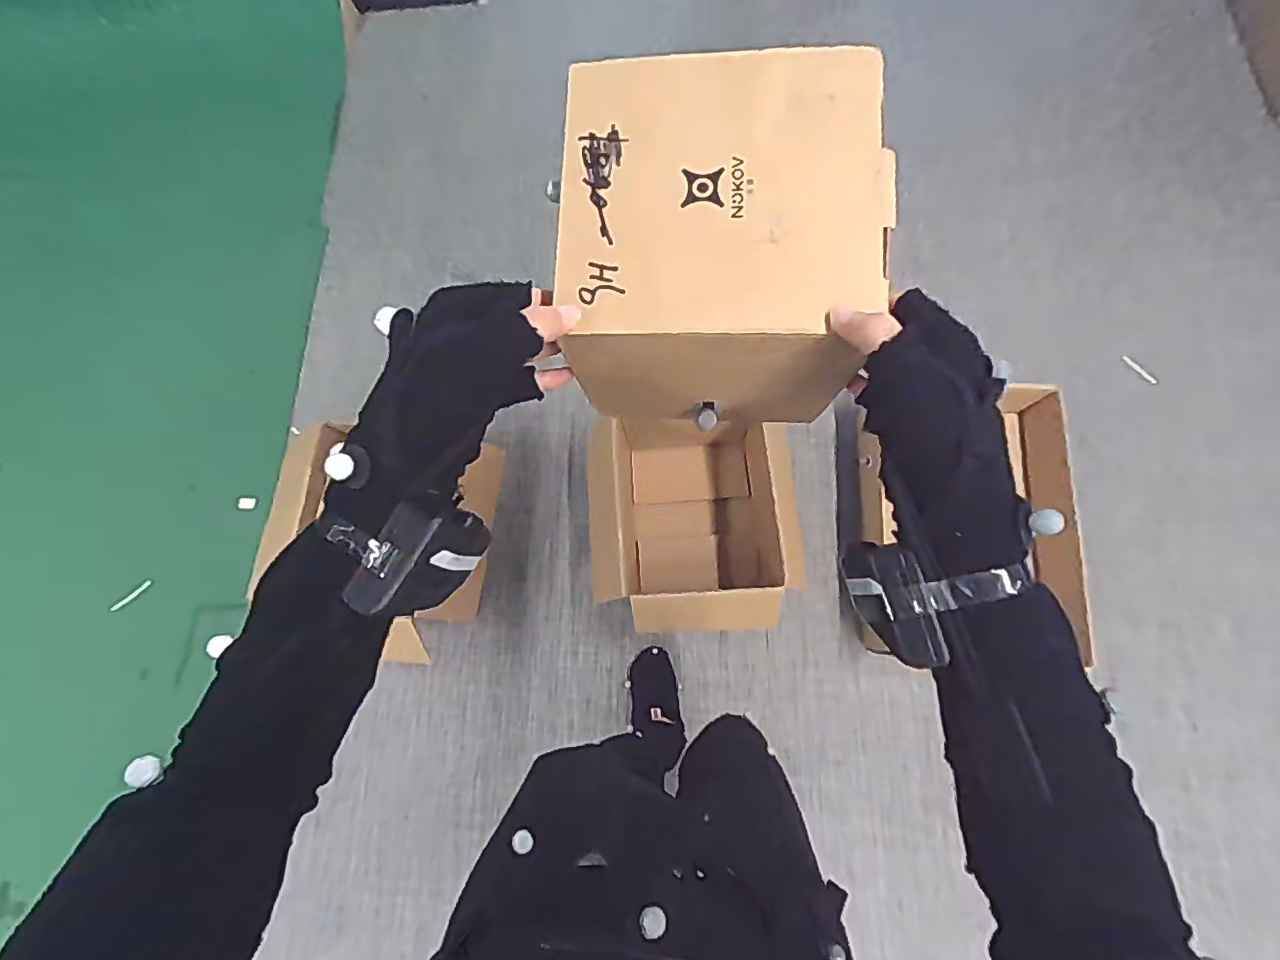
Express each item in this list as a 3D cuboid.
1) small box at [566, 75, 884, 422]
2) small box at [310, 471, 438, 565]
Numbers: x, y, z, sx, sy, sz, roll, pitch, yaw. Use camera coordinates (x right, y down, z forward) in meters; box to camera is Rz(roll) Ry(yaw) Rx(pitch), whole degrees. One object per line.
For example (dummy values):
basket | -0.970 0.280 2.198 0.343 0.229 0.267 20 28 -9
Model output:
small box | 0.053 -0.143 0.387 0.179 0.176 0.168 3 80 4
small box | -0.563 0.088 1.171 0.179 0.176 0.168 5 74 5
